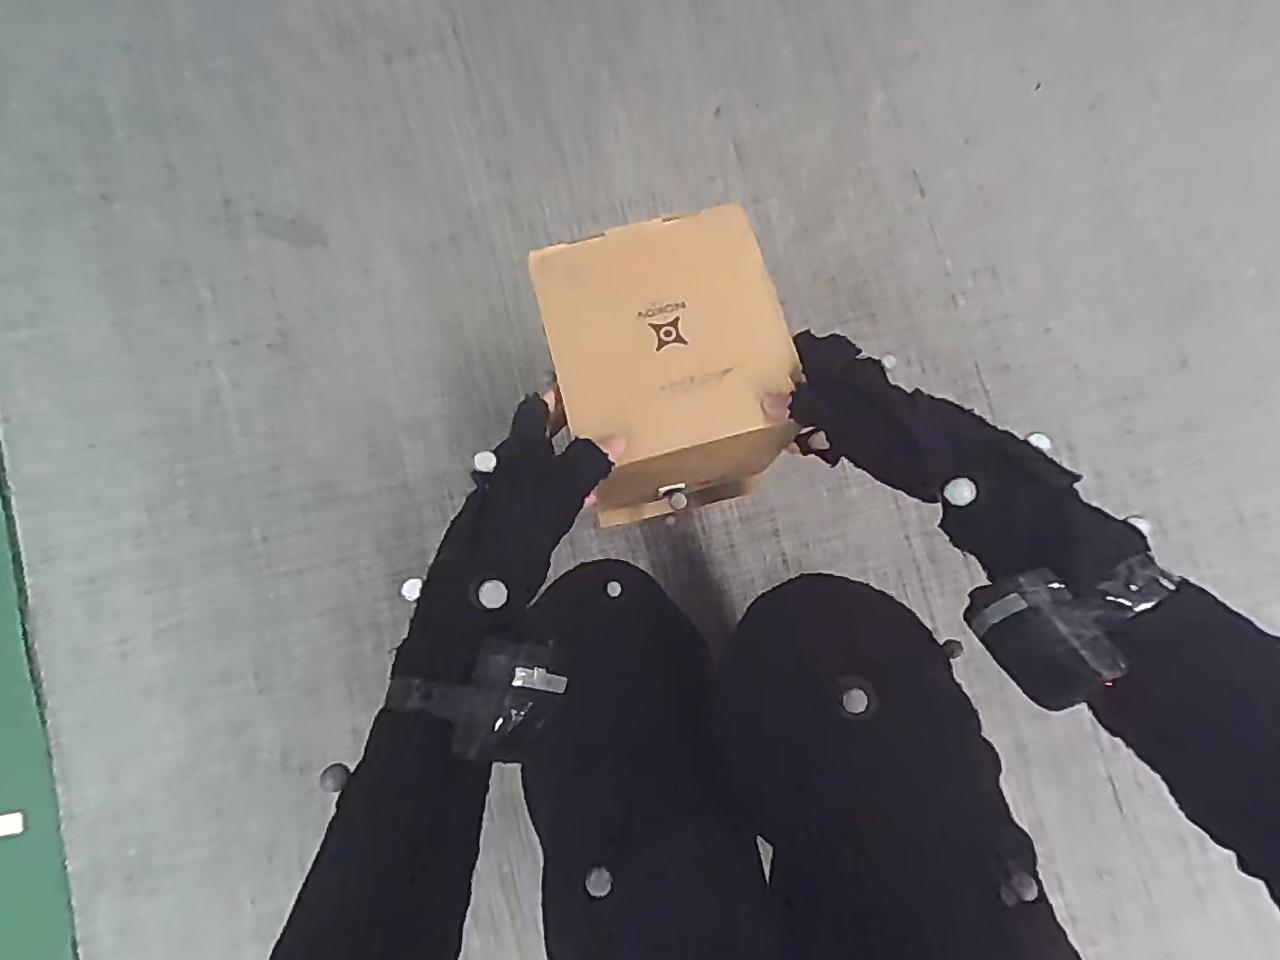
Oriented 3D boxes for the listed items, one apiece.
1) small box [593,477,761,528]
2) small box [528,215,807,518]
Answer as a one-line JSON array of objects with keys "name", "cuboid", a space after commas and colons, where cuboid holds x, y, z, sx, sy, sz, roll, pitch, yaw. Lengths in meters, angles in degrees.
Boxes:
[{"name": "small box", "cuboid": [0.030, -0.038, 0.645, 0.179, 0.176, 0.168, -13, 85, 2]}, {"name": "small box", "cuboid": [0.016, -0.080, 0.457, 0.168, 0.176, 0.179, -14, 77, -1]}]
